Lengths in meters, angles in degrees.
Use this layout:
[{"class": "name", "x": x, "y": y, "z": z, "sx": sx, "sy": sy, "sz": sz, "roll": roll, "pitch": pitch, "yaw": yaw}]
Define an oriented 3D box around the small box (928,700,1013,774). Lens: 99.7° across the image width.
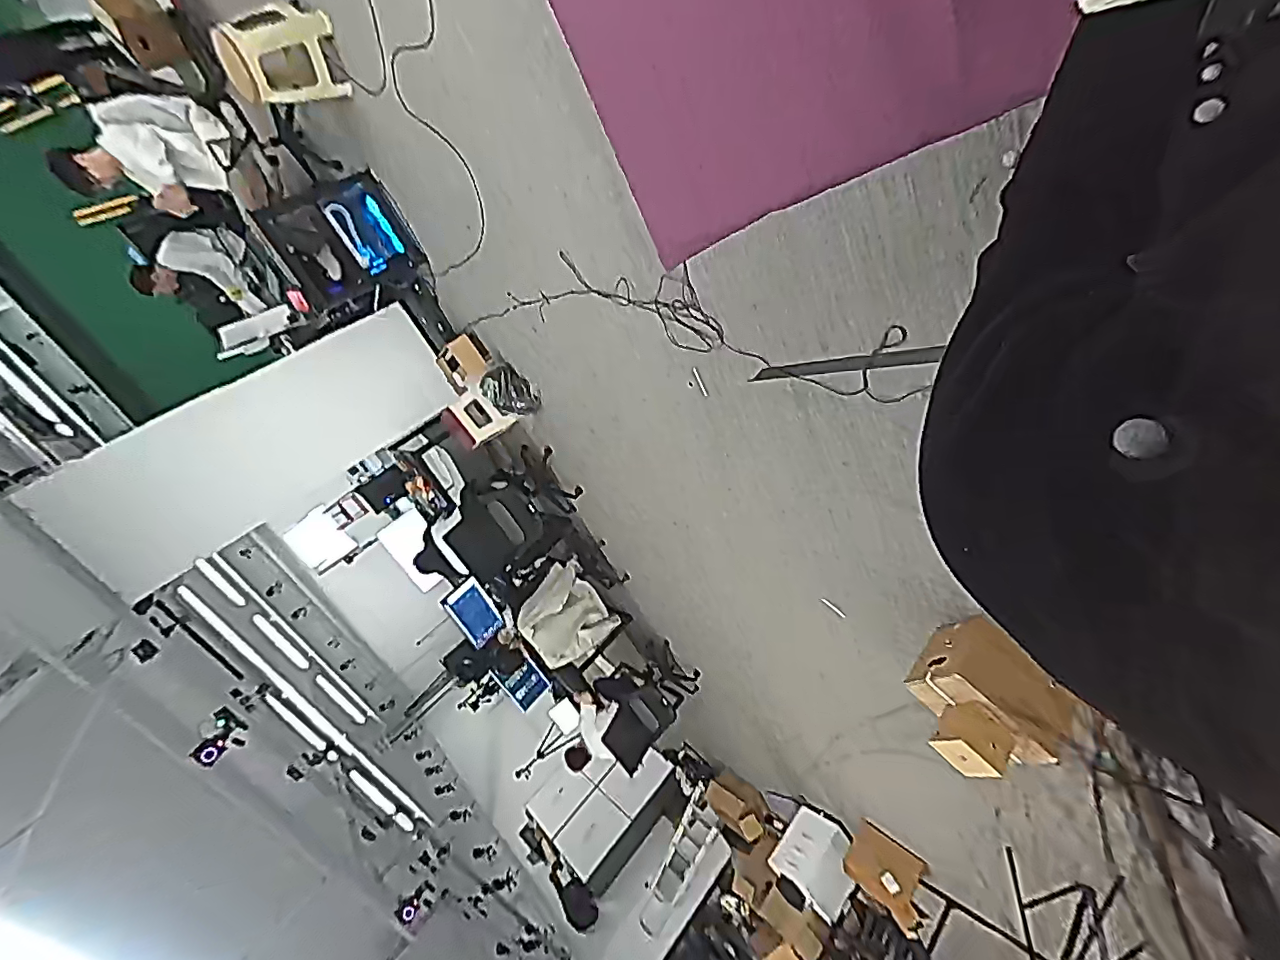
[{"class": "small box", "x": 1.156, "y": 0.891, "z": 1.884, "sx": 0.168, "sy": 0.176, "sz": 0.179, "roll": 43, "pitch": 152, "yaw": 11}]
